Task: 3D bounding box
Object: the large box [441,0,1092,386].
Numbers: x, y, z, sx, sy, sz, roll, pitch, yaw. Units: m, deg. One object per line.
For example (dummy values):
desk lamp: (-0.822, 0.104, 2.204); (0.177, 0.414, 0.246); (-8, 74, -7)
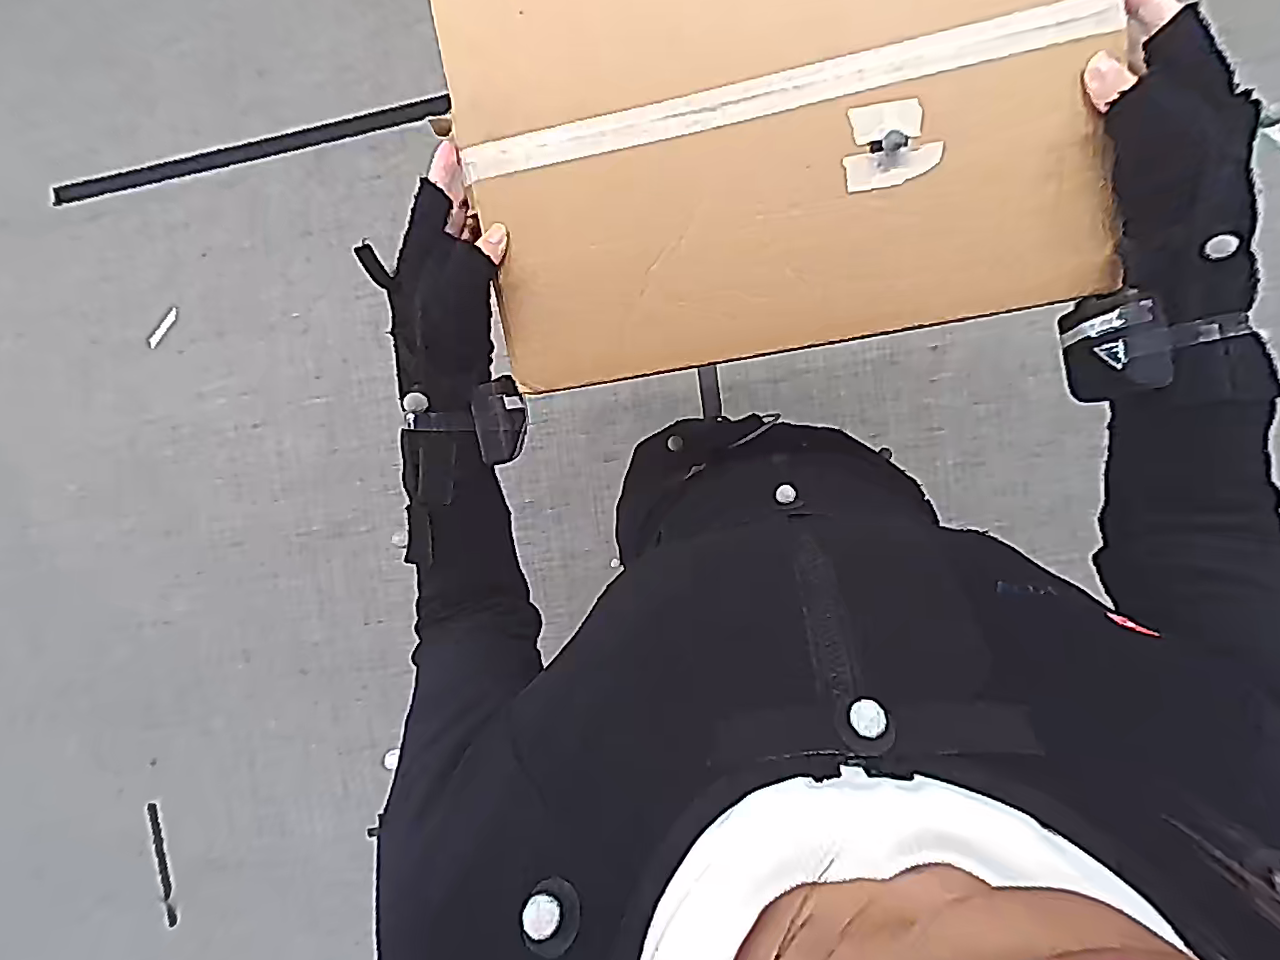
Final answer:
large box: (0.091, -0.281, 0.500); (0.408, 0.320, 0.320); (-9, 102, 6)
